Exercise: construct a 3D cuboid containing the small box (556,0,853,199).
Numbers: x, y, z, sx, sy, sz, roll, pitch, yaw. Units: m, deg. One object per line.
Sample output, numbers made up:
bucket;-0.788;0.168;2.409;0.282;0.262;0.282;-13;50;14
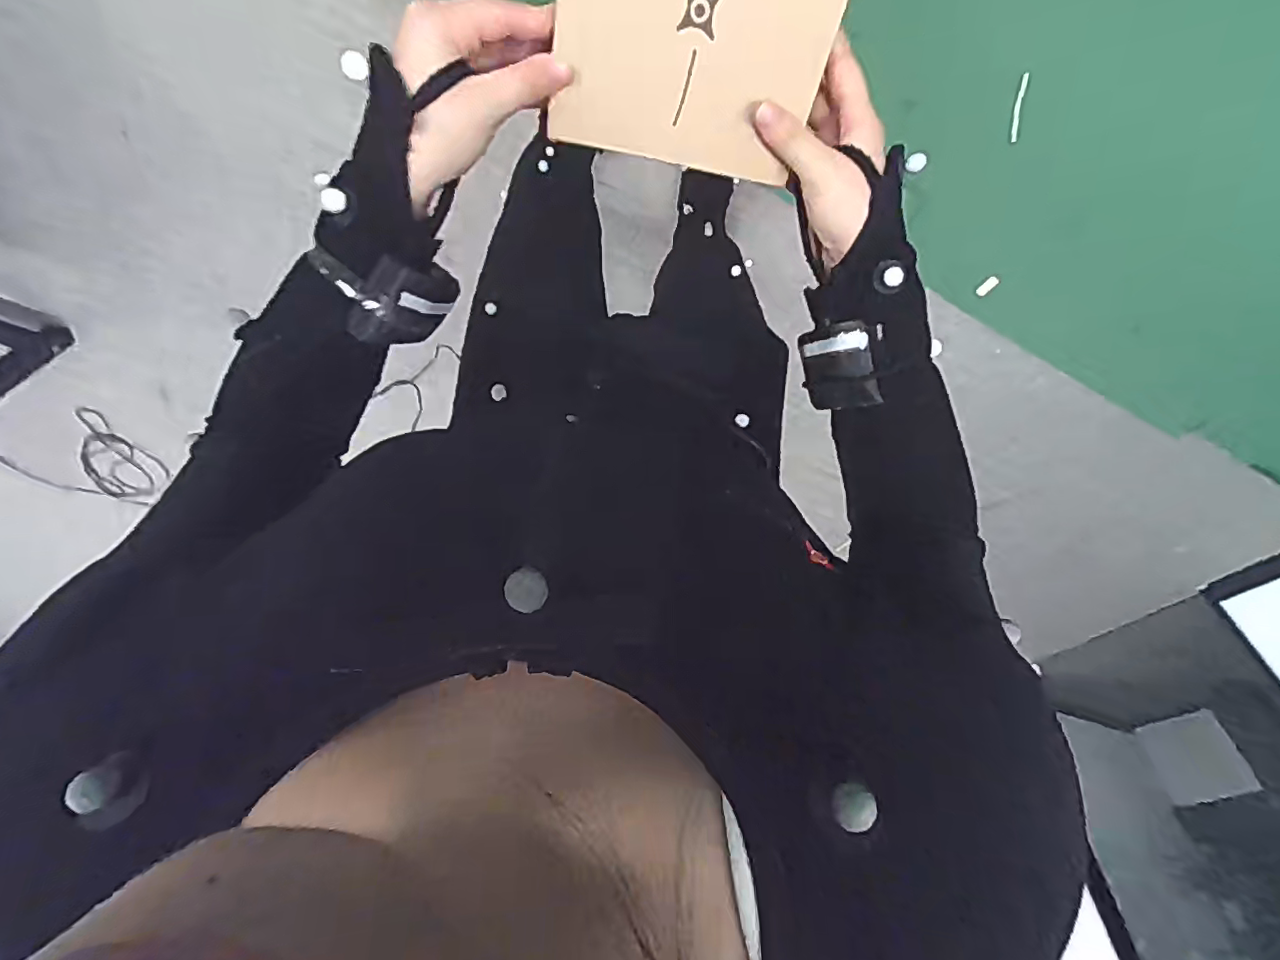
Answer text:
small box;0.034;-0.324;0.372;0.168;0.176;0.179;5;132;-10
